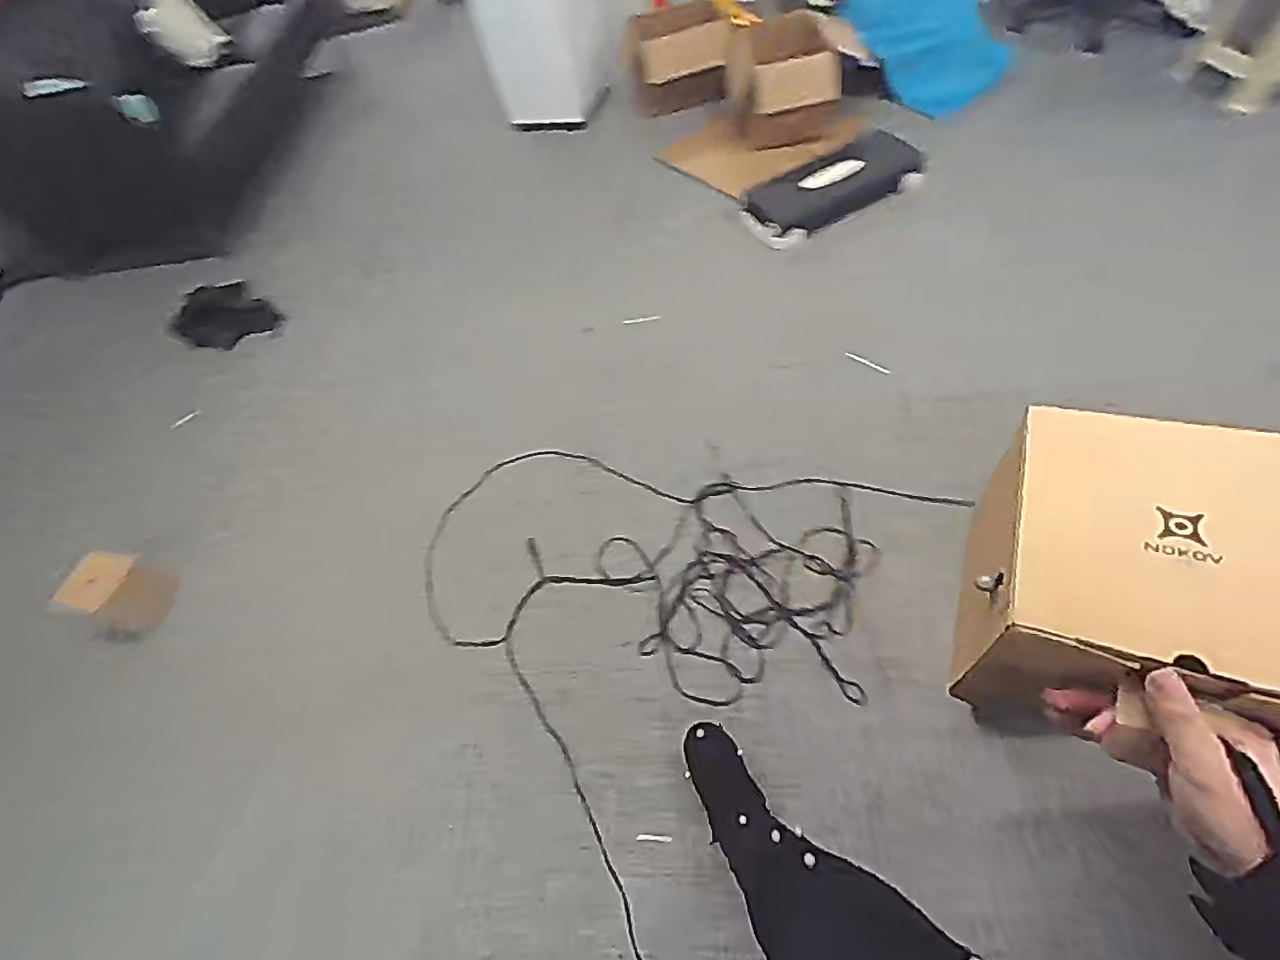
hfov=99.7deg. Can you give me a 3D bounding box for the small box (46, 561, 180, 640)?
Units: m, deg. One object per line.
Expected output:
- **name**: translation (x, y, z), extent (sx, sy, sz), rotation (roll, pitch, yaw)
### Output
- **small box**: translation (-1.472, 0.343, 1.525), extent (0.179, 0.176, 0.168), rotation (3, 57, 13)
